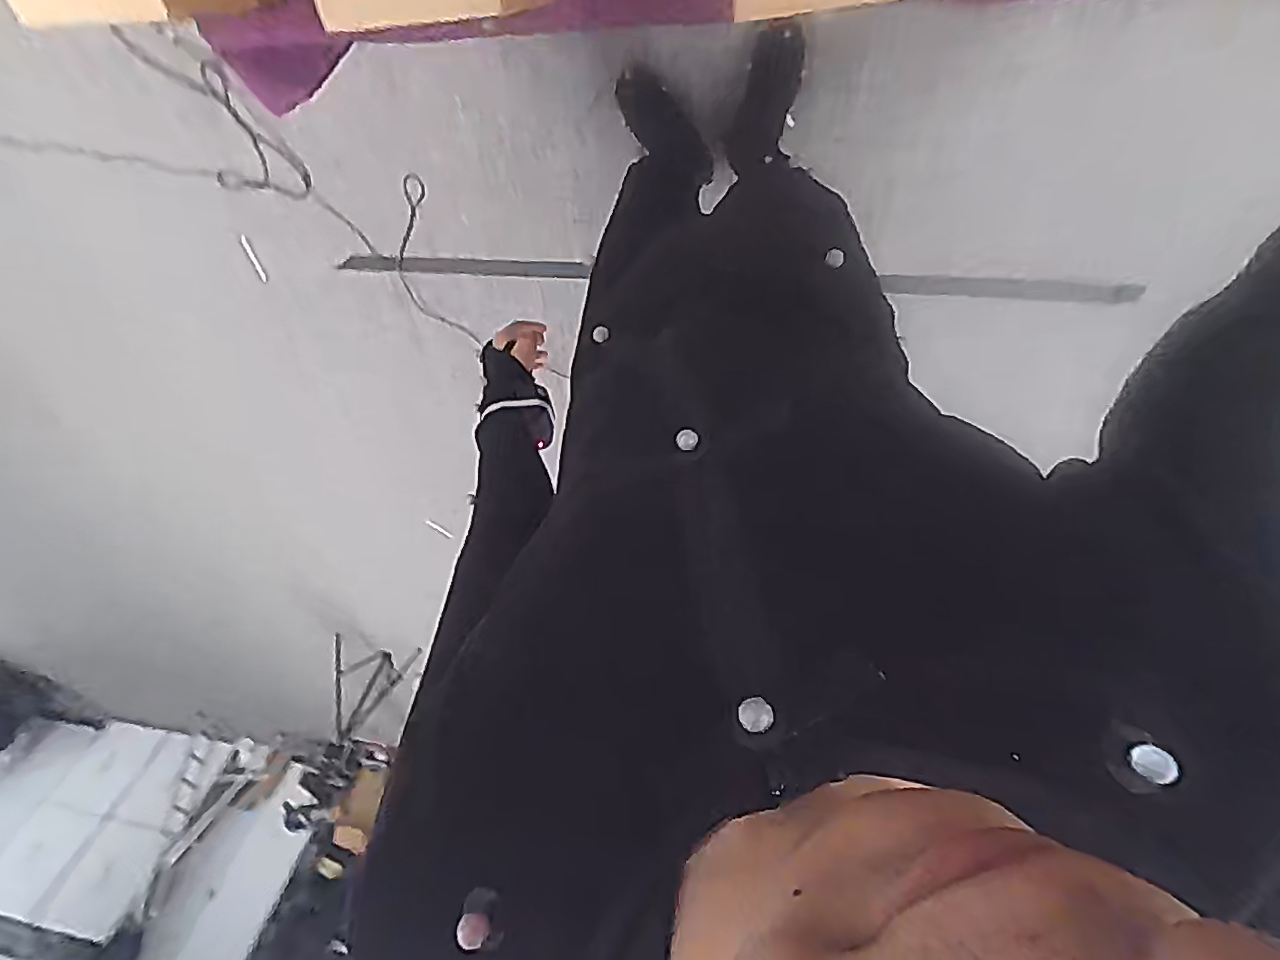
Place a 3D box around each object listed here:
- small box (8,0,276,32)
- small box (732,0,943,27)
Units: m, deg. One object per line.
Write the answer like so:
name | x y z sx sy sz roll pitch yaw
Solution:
small box | -0.516 -0.553 0.531 0.179 0.176 0.168 4 135 8
small box | 0.159 -0.487 0.427 0.168 0.176 0.179 2 135 12
